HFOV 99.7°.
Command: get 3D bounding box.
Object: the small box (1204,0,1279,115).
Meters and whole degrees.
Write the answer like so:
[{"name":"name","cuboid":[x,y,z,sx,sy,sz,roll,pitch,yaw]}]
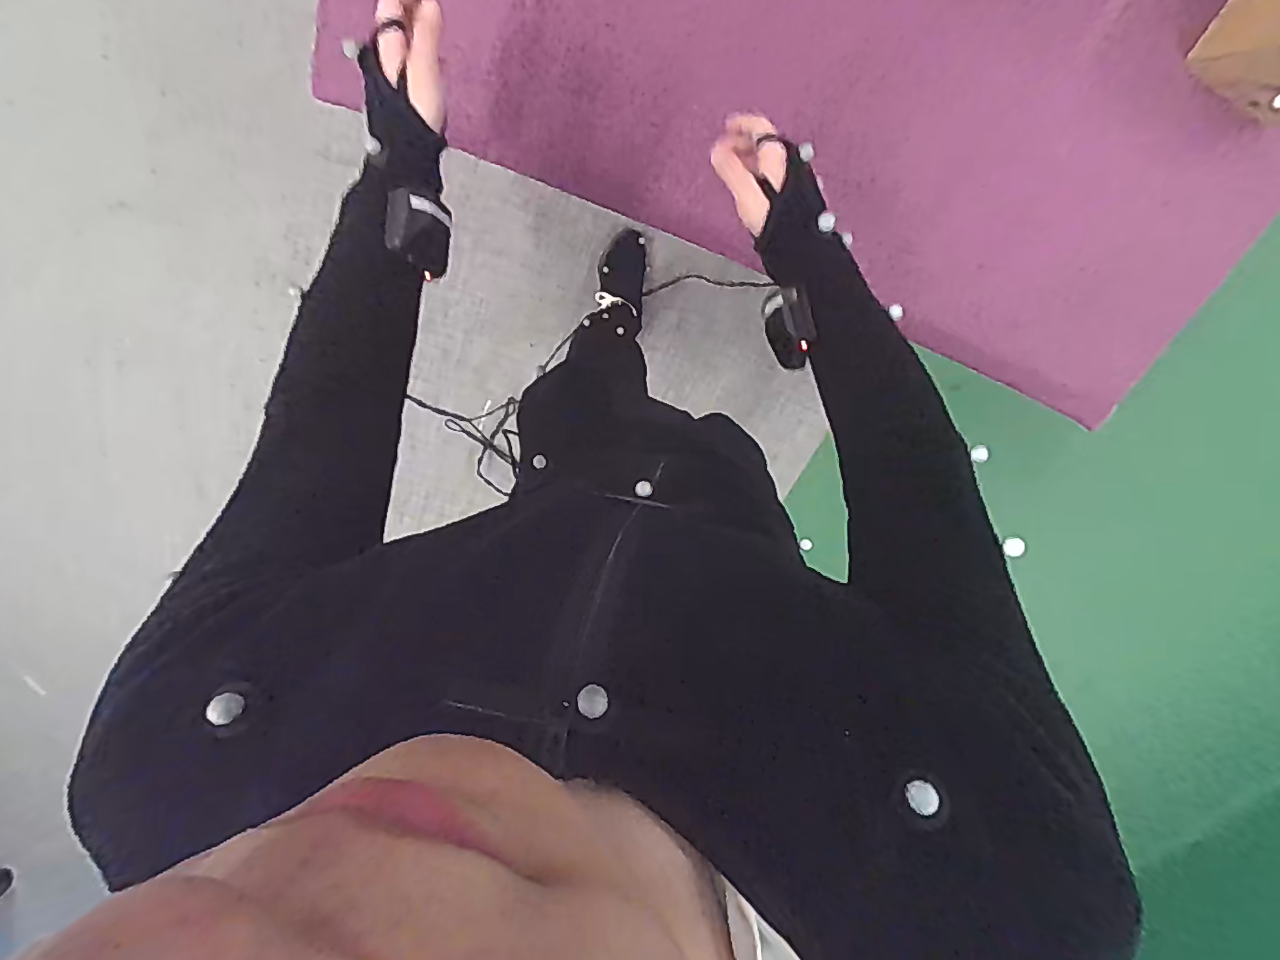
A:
[{"name":"small box","cuboid":[0.759,-0.506,0.557,0.168,0.176,0.179,20,119,-13]}]
